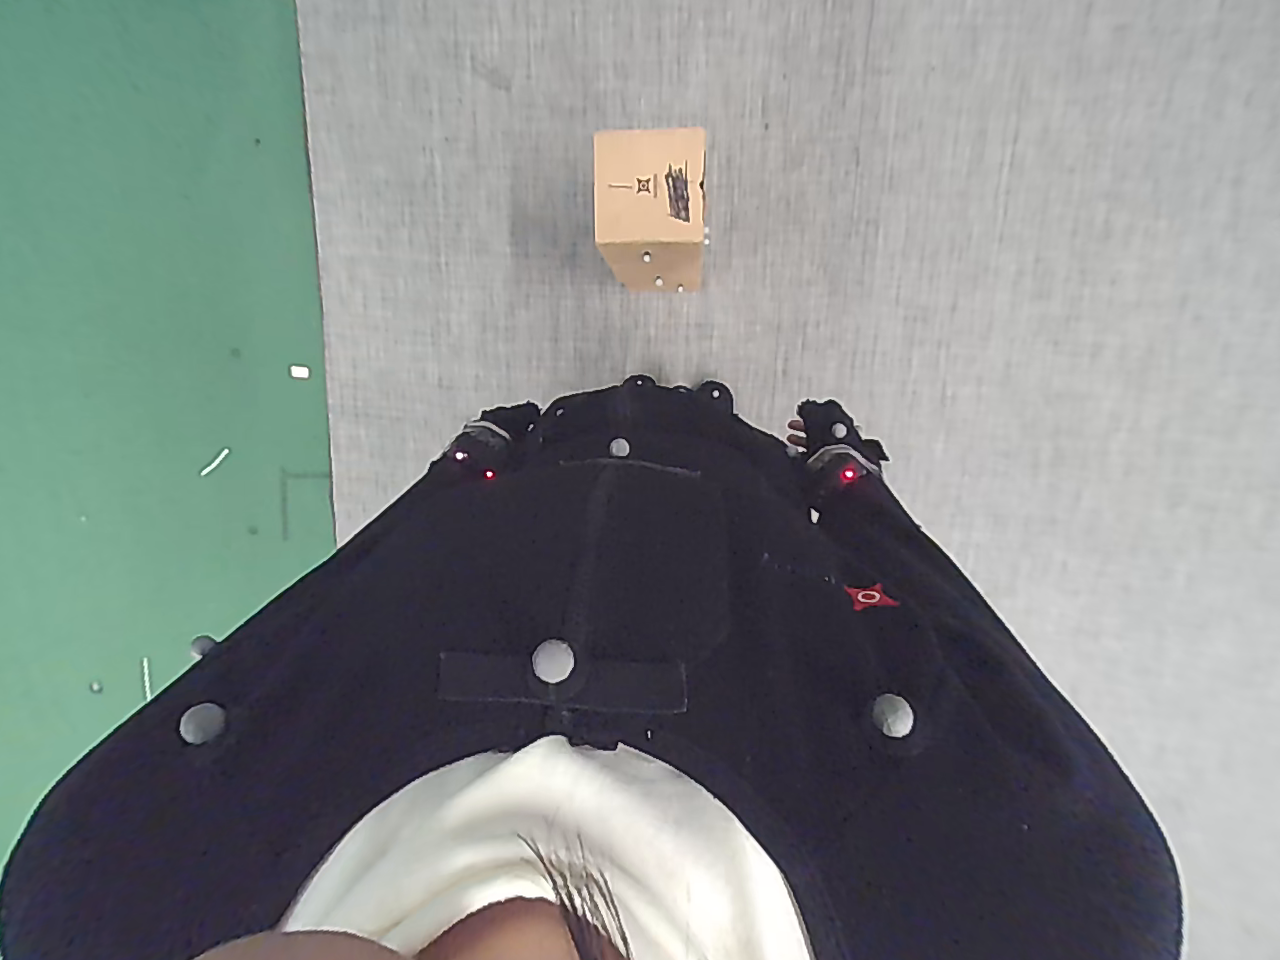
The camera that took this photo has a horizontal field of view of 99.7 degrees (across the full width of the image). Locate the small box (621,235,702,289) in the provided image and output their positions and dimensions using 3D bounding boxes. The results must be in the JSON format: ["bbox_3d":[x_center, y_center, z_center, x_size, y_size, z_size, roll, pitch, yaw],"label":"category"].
[{"bbox_3d":[0.053,-0.540,1.246,0.179,0.176,0.168,2,100,6],"label":"small box"}]

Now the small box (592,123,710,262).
[{"bbox_3d":[0.020,-0.479,0.923,0.179,0.176,0.168,4,99,4],"label":"small box"}]
